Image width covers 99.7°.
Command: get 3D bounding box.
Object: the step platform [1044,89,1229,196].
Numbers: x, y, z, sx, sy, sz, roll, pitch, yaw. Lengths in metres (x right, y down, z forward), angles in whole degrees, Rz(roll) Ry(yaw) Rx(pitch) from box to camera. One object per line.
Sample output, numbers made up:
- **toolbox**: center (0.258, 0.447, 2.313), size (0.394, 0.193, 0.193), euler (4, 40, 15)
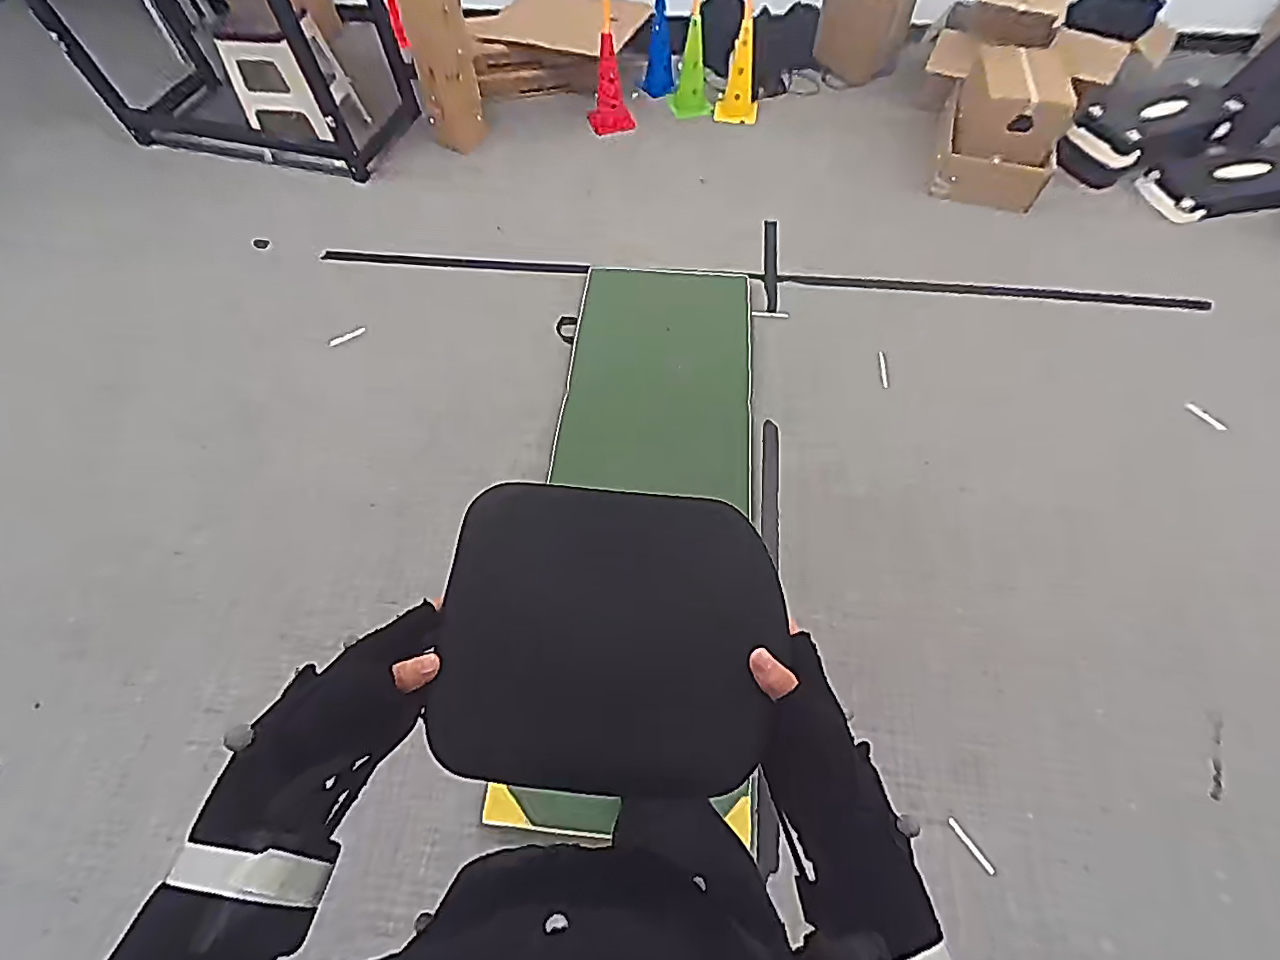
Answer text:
- **step platform**: center (2.158, -1.476, 2.352), size (0.684, 0.204, 0.286), euler (-21, 64, -10)
